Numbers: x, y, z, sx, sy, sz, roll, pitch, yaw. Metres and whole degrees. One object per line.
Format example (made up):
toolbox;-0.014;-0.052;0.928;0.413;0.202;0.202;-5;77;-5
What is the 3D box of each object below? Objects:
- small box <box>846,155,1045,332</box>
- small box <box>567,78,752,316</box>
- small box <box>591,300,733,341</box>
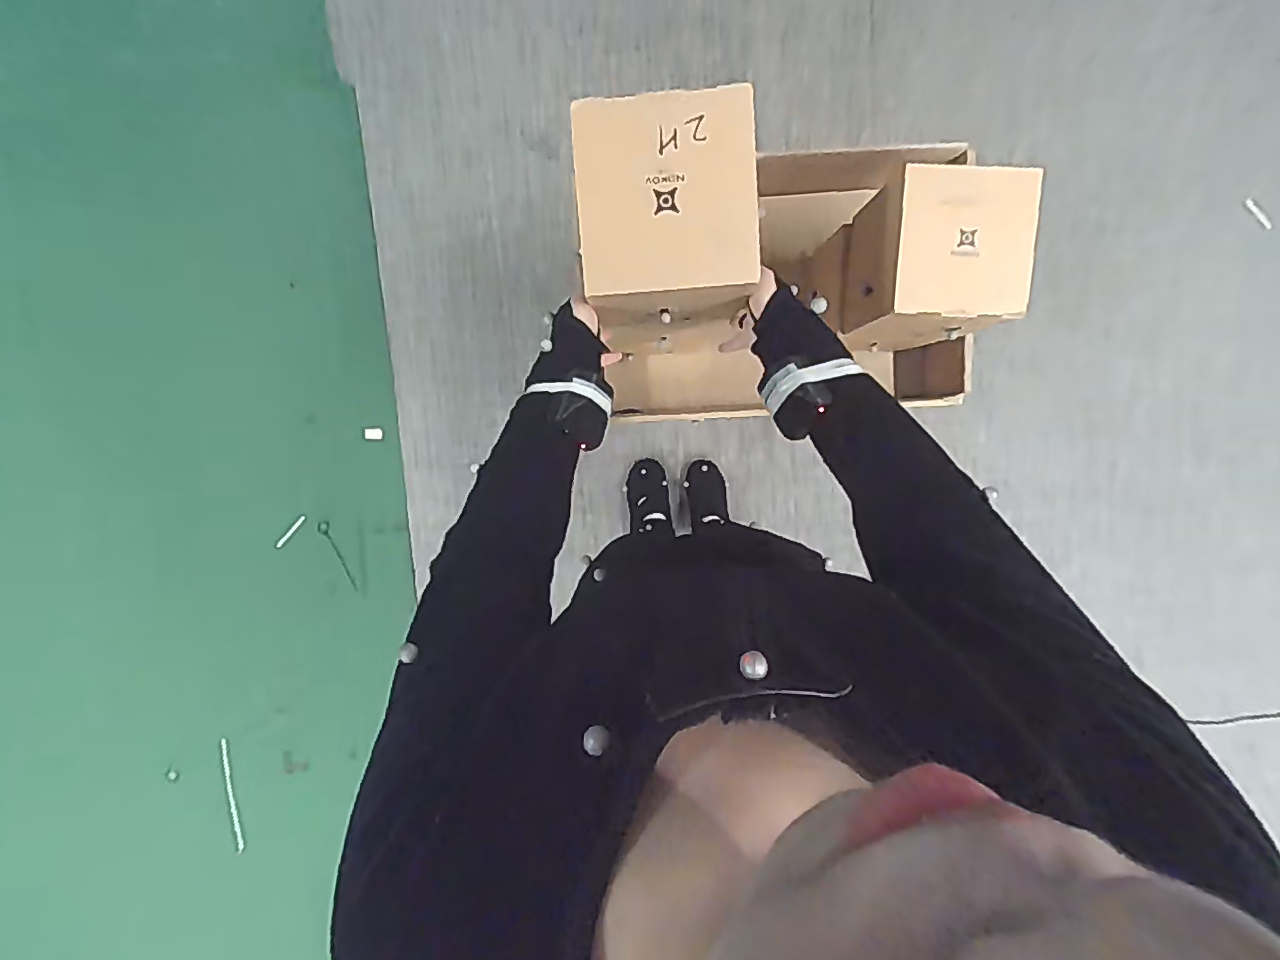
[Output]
small box;0.388;-0.299;0.720;0.168;0.176;0.179;3;95;1
small box;0.022;-0.275;0.569;0.168;0.176;0.179;-3;96;2
small box;0.023;-0.289;0.734;0.179;0.176;0.168;-4;95;2
